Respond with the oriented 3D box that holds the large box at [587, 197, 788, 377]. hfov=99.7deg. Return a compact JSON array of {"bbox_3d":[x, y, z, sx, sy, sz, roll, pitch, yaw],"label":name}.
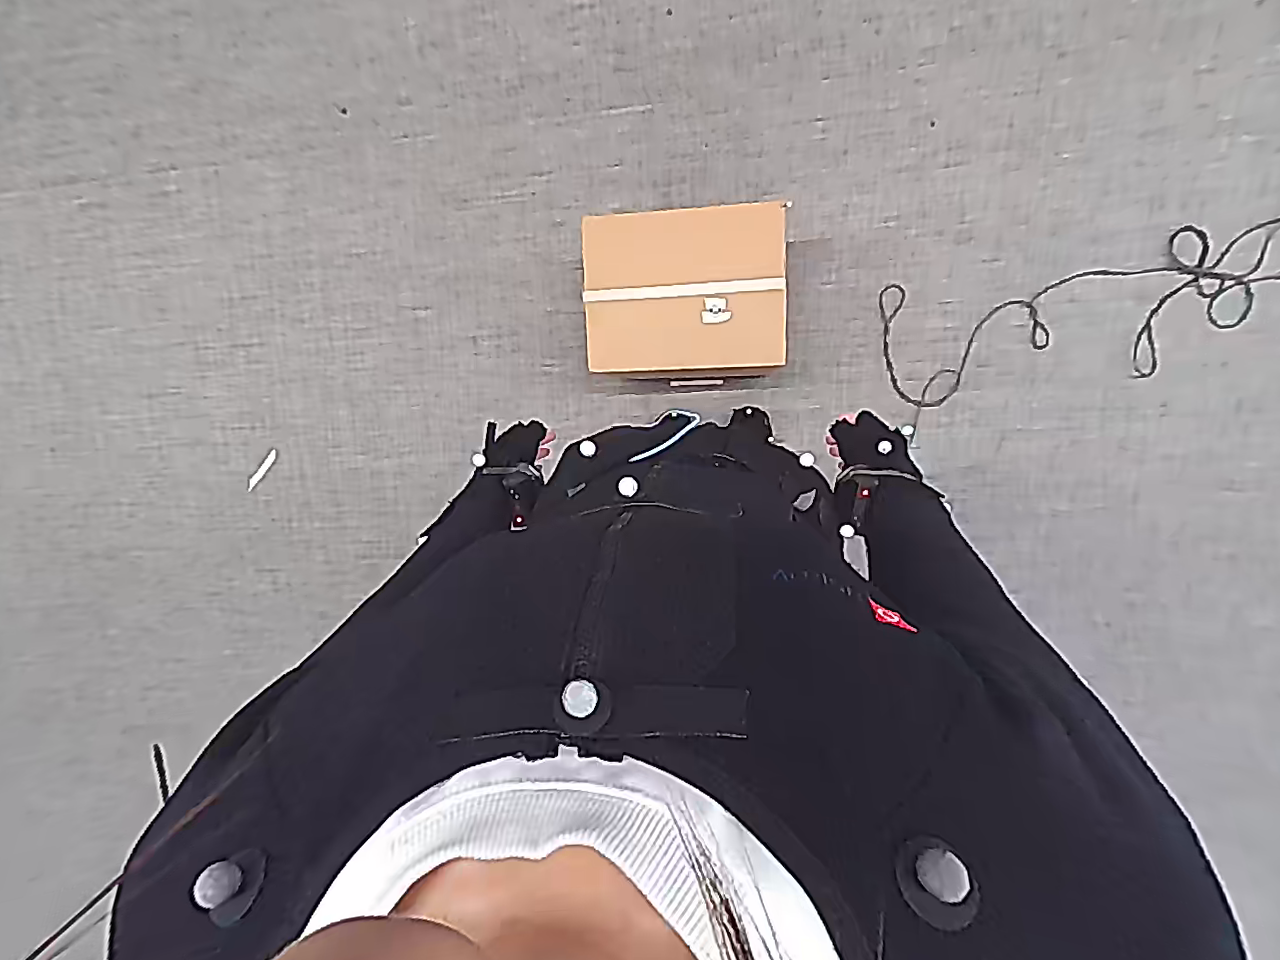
[{"bbox_3d":[0.112,-0.409,1.234,0.408,0.320,0.320,-1,98,8],"label":"large box"}]
